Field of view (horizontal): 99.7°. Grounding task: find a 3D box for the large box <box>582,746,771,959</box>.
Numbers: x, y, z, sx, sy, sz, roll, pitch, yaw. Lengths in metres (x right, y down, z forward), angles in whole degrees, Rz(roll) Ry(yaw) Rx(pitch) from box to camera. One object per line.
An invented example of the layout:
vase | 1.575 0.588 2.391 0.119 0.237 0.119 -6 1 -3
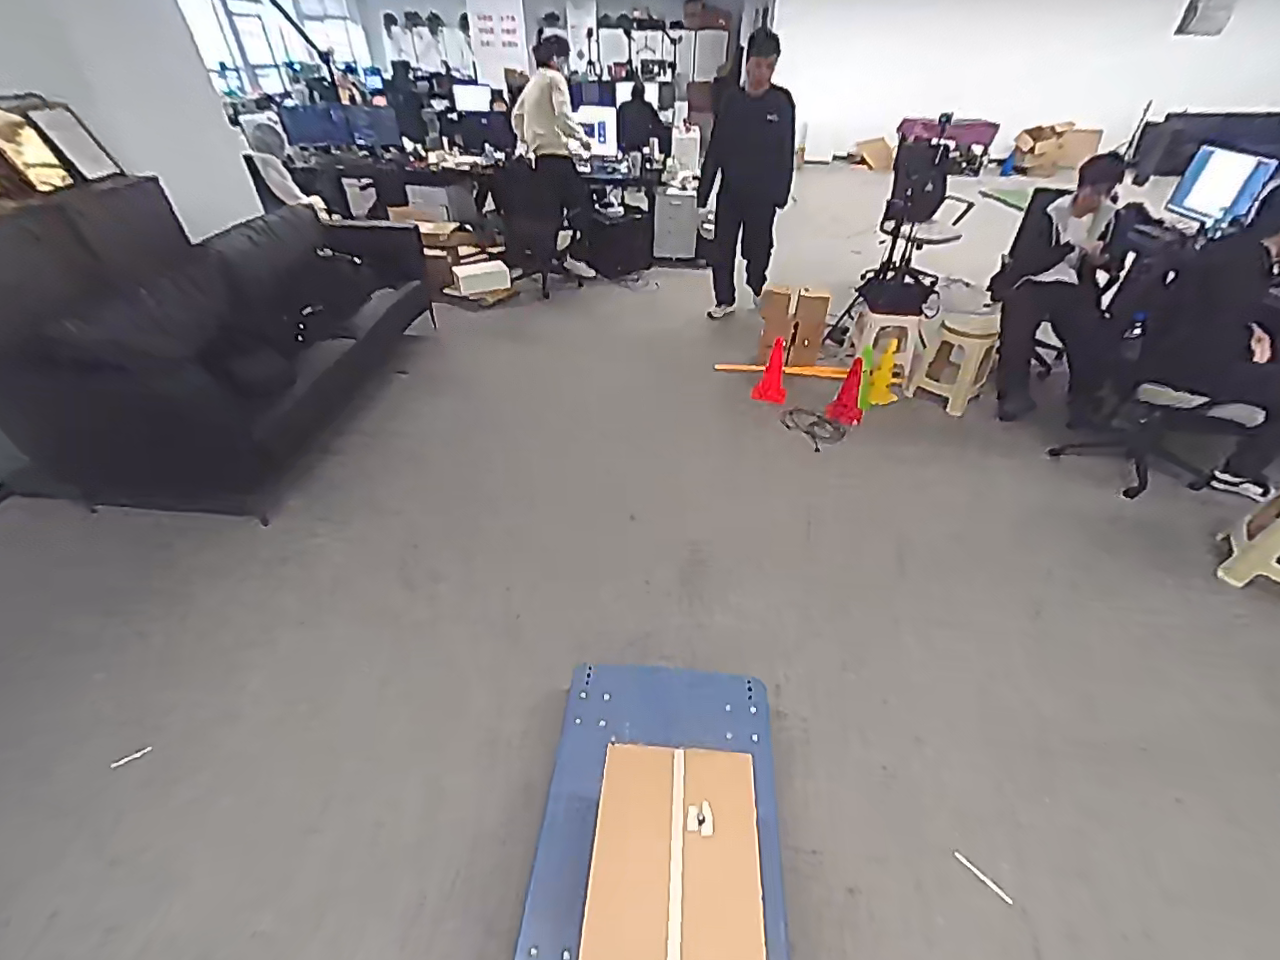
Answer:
large box | 0.071 0.818 1.087 0.320 0.320 0.408 4 38 4
